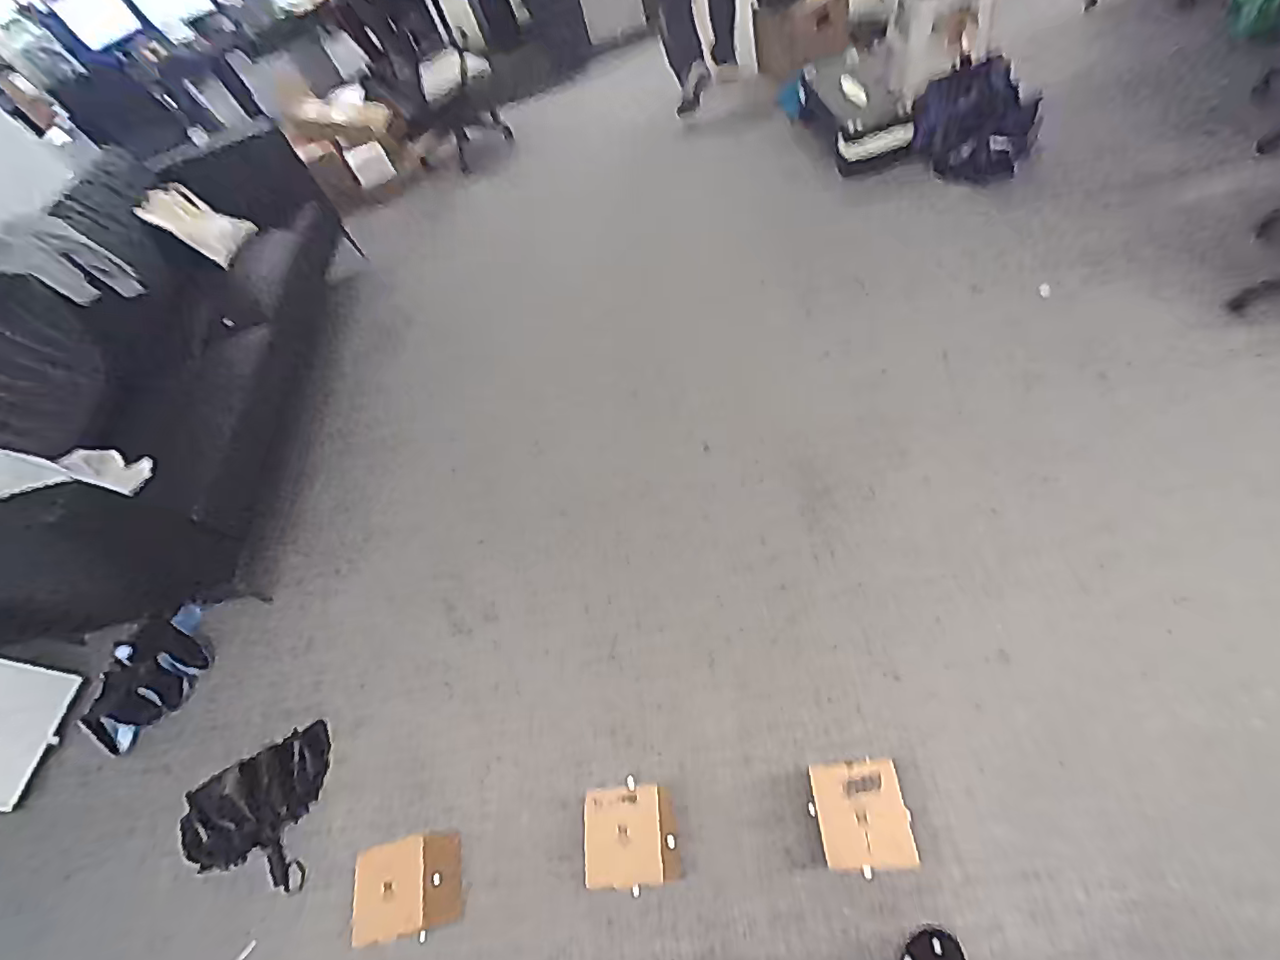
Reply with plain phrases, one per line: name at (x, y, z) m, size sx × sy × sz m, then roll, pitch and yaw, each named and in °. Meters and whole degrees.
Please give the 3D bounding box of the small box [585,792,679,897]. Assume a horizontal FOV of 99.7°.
small box at (-0.015, 0.791, 1.181) m, size 0.168 × 0.176 × 0.179 m, roll -11°, pitch 55°, yaw 10°

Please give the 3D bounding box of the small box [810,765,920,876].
small box at (0.445, 0.694, 1.101) m, size 0.168 × 0.176 × 0.179 m, roll -11°, pitch 56°, yaw 11°
